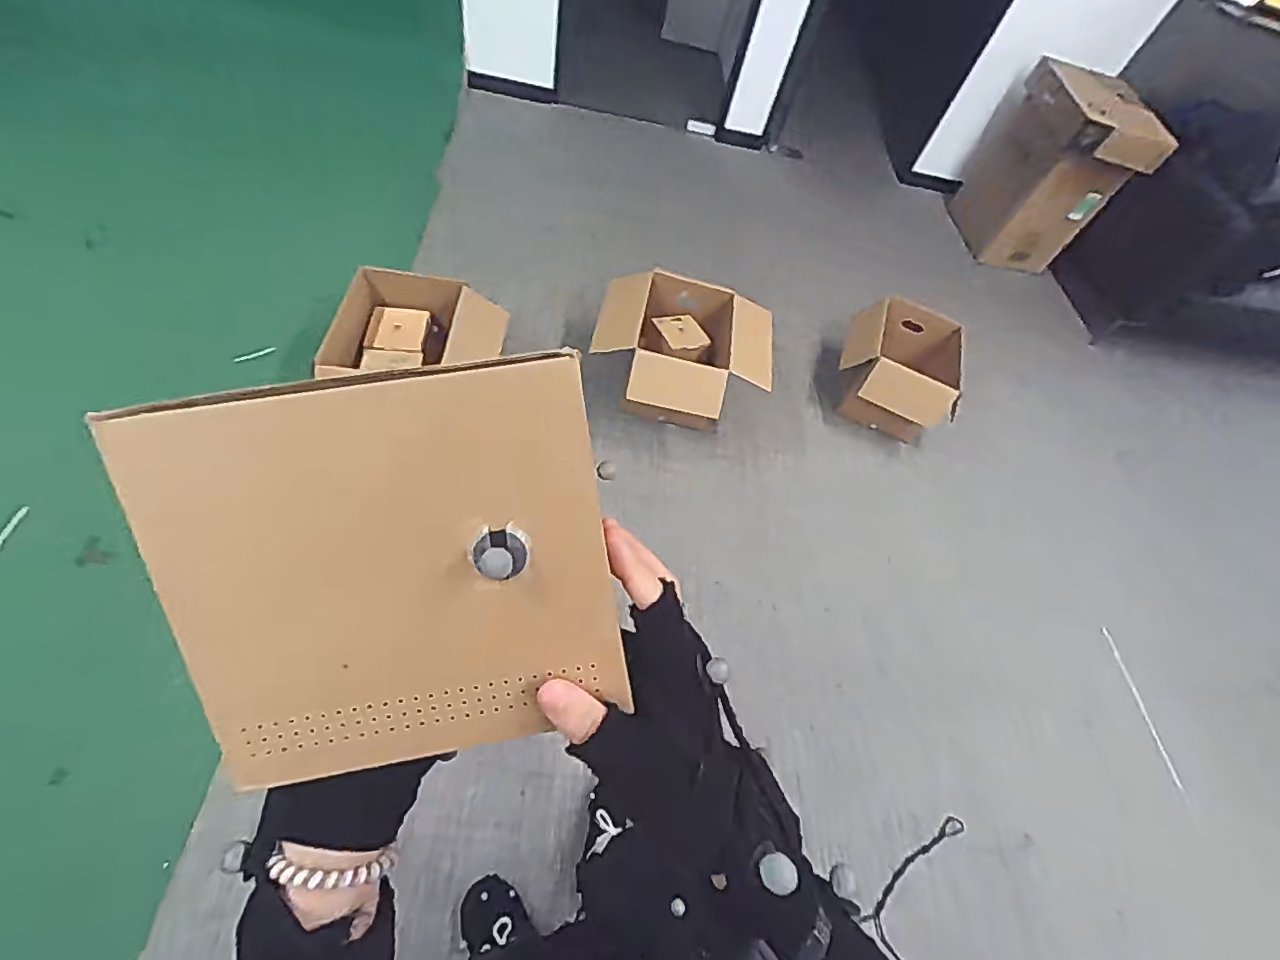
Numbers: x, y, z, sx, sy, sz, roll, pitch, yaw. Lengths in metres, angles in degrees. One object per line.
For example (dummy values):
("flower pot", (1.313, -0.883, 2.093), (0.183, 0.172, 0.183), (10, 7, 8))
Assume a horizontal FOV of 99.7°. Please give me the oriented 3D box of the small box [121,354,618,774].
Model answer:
("small box", (-0.108, 0.027, 0.305), (0.179, 0.176, 0.168), (-9, 15, -4))
